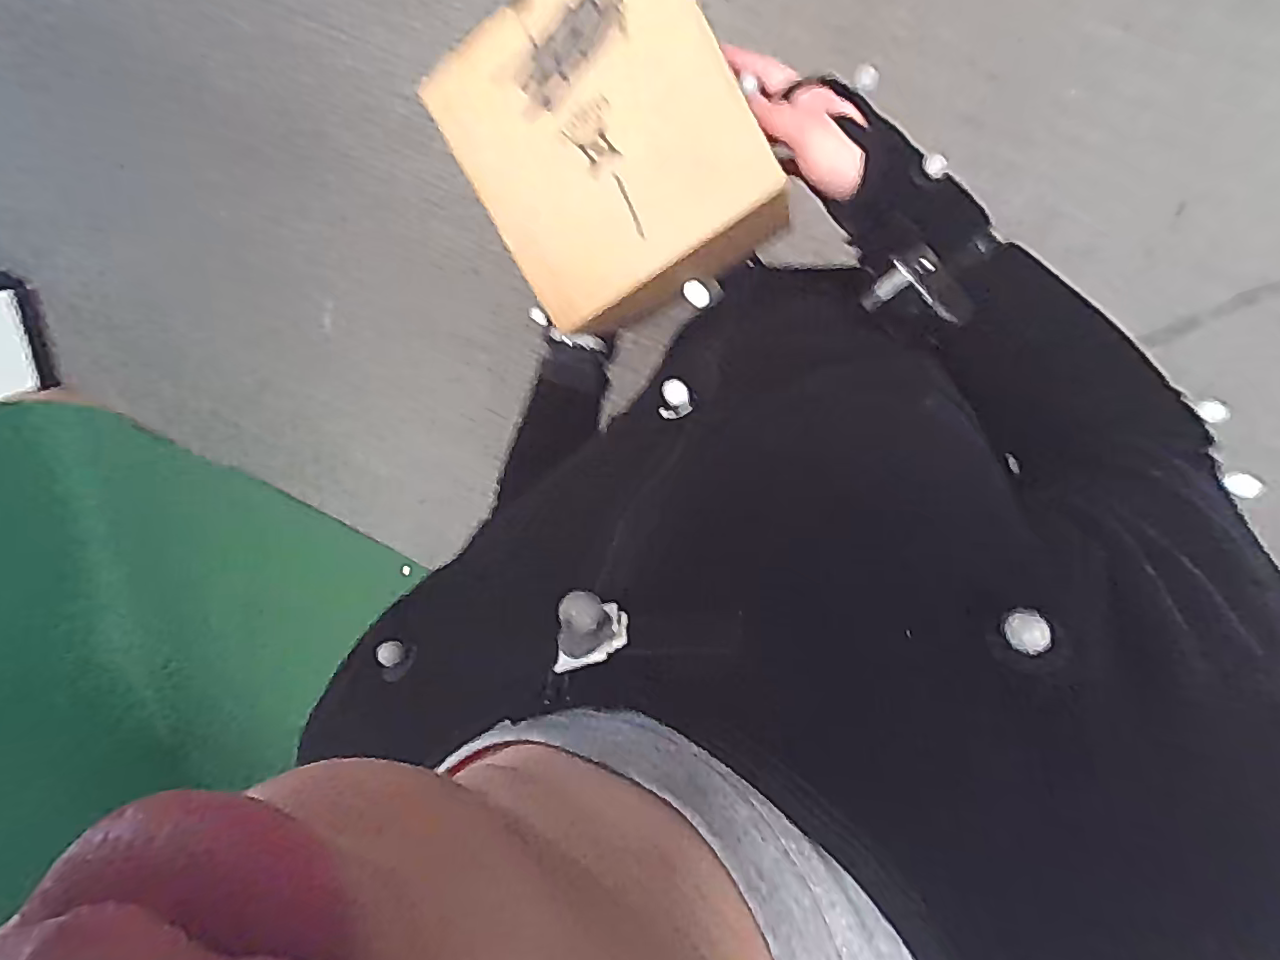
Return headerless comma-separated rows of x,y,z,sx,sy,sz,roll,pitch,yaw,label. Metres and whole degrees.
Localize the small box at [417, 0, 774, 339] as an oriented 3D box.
-0.013,-0.222,0.396,0.168,0.176,0.179,-25,100,21,small box
